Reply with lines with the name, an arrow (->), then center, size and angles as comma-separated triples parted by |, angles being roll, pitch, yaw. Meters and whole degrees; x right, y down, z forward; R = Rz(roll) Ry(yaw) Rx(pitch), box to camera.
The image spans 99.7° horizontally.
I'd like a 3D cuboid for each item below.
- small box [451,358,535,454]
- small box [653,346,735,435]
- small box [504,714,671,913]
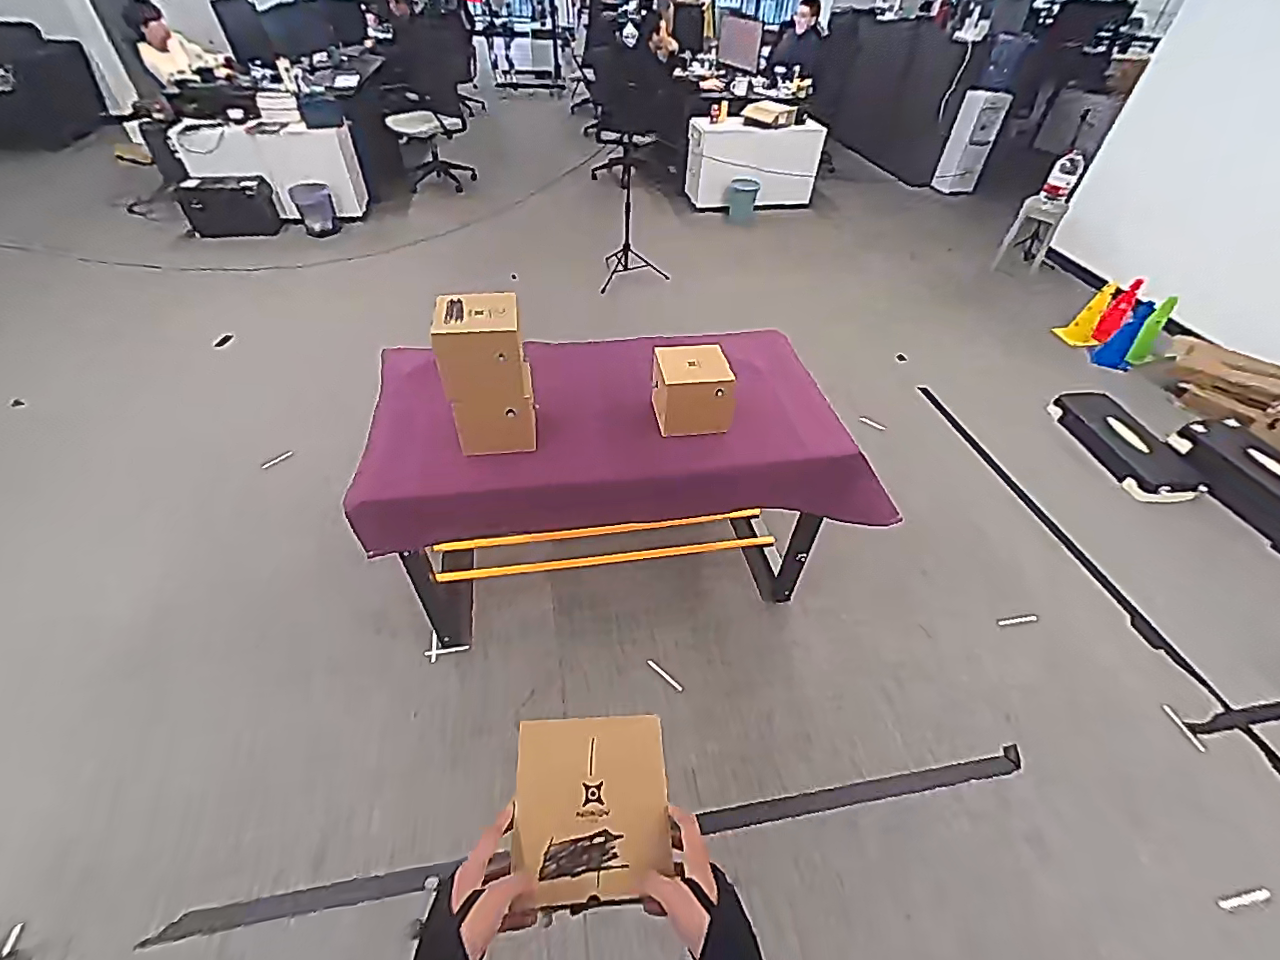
small box -> -0.349, -0.179, 1.318 | 0.179, 0.176, 0.168 | -4, 45, -8
small box -> 0.130, -0.229, 1.399 | 0.179, 0.176, 0.168 | -5, 45, -8
small box -> -0.060, 0.393, 0.637 | 0.168, 0.176, 0.179 | 1, 51, -7
